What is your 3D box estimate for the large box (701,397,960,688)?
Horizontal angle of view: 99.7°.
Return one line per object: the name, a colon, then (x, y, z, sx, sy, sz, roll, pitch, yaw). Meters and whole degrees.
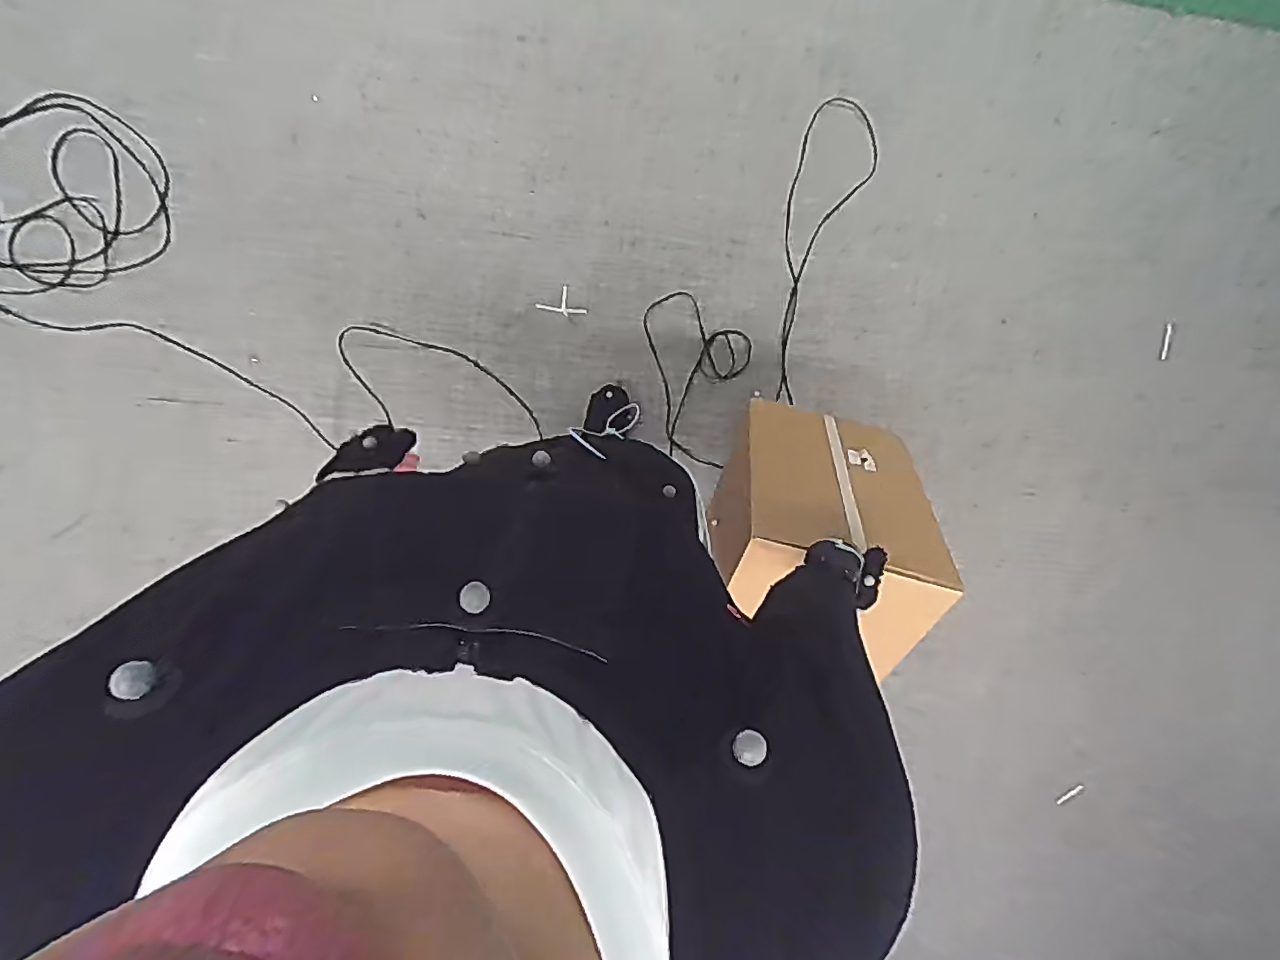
large box: (0.307, 0.105, 1.011, 0.320, 0.408, 0.320, 16, 128, -1)
